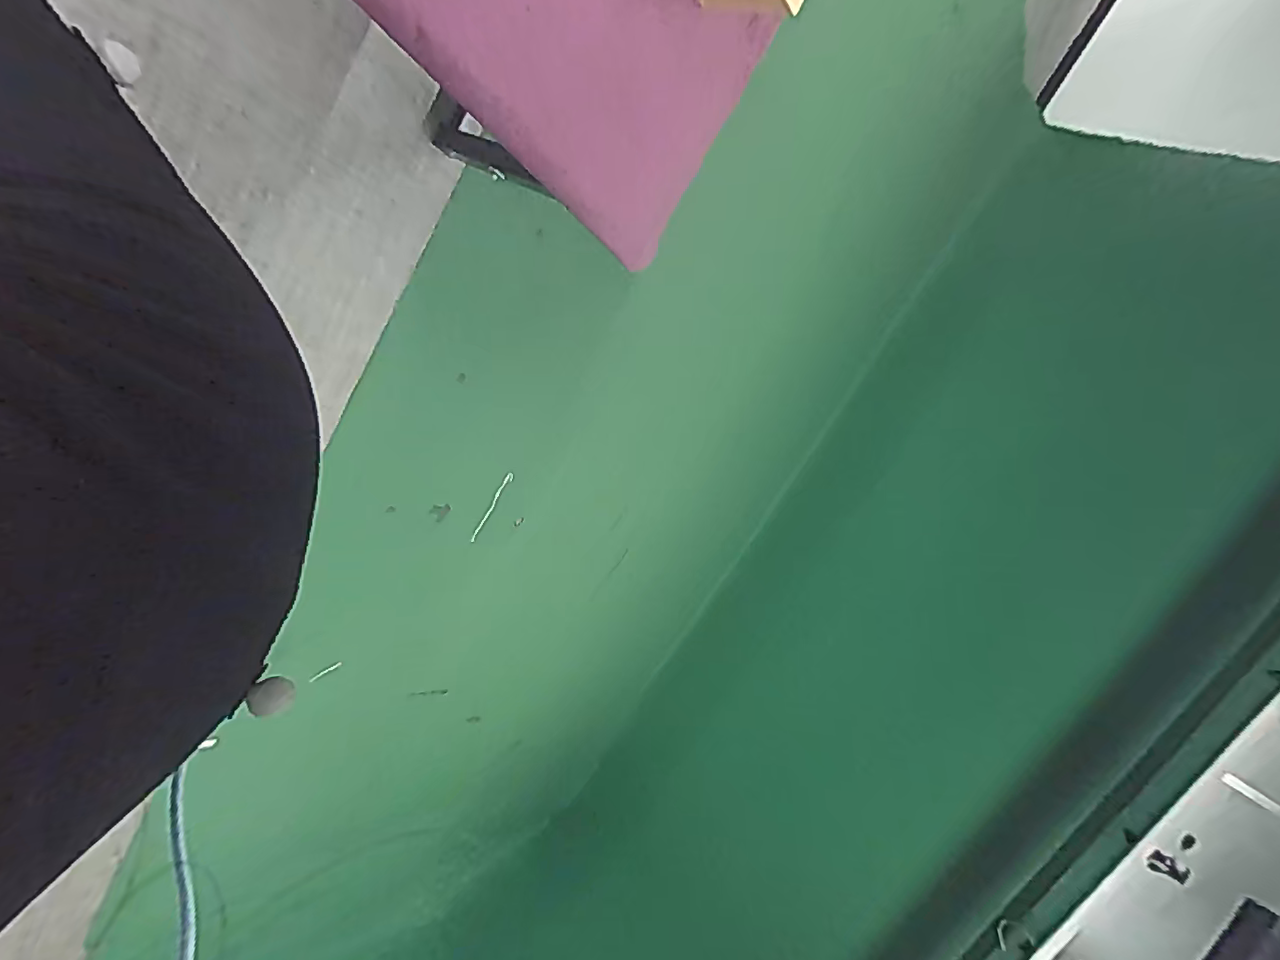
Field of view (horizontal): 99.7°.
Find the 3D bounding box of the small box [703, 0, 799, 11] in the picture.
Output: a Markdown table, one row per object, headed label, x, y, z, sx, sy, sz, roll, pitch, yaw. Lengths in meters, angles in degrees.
| label | x | y | z | sx | sy | sz | roll | pitch | yaw |
| --- | --- | --- | --- | --- | --- | --- | --- | --- | --- |
| small box | 0.132 | -0.722 | 0.655 | 0.168 | 0.176 | 0.179 | 3 | 118 | -52 |
